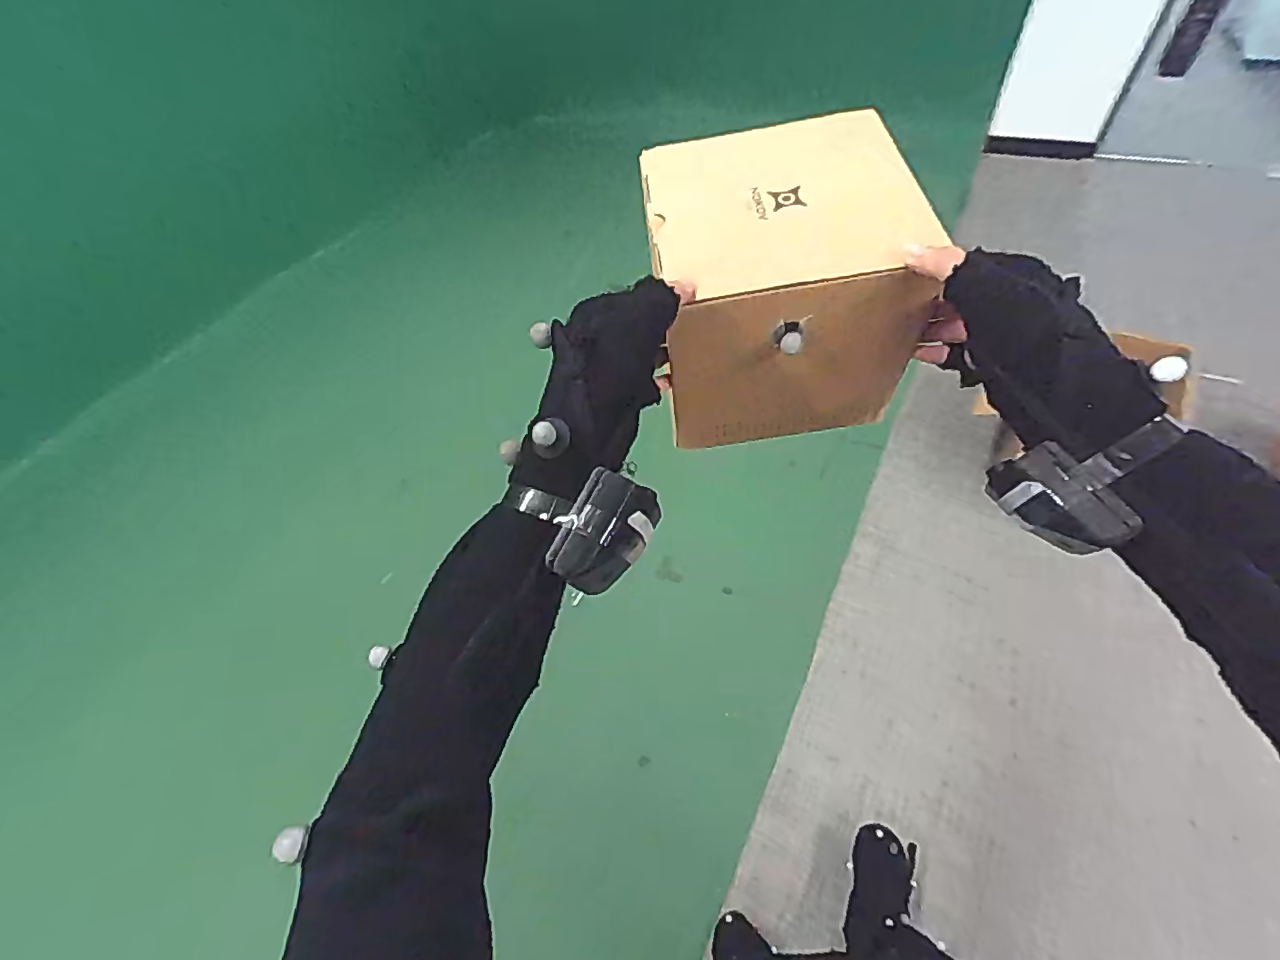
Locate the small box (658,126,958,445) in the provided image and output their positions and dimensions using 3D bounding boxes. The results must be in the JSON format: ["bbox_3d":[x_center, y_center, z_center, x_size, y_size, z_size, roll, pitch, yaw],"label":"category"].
[{"bbox_3d":[0.114,-0.147,0.444,0.179,0.176,0.168,-8,60,4],"label":"small box"}]
